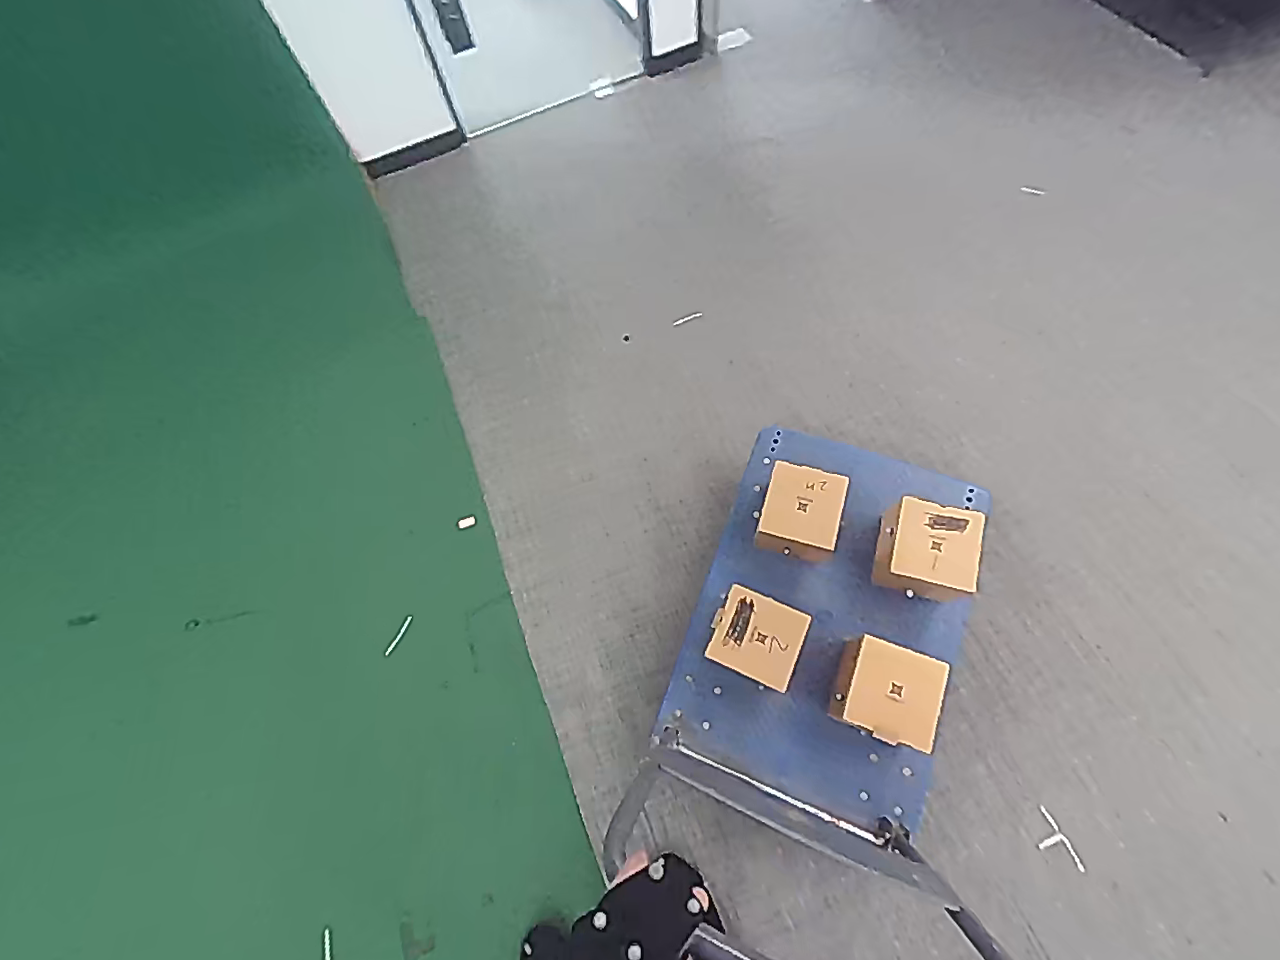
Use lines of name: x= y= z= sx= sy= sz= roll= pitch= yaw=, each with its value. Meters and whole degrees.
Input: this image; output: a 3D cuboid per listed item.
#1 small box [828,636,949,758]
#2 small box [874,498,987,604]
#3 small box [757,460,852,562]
small box: x=0.506 y=0.442 z=1.122 sx=0.168 sy=0.176 sz=0.179 roll=19 pitch=75 yaw=14
small box: x=0.635 y=0.163 z=1.199 sx=0.168 sy=0.176 sz=0.179 roll=15 pitch=75 yaw=13
small box: x=0.376 y=0.080 z=1.264 sx=0.168 sy=0.176 sz=0.179 roll=16 pitch=74 yaw=12
